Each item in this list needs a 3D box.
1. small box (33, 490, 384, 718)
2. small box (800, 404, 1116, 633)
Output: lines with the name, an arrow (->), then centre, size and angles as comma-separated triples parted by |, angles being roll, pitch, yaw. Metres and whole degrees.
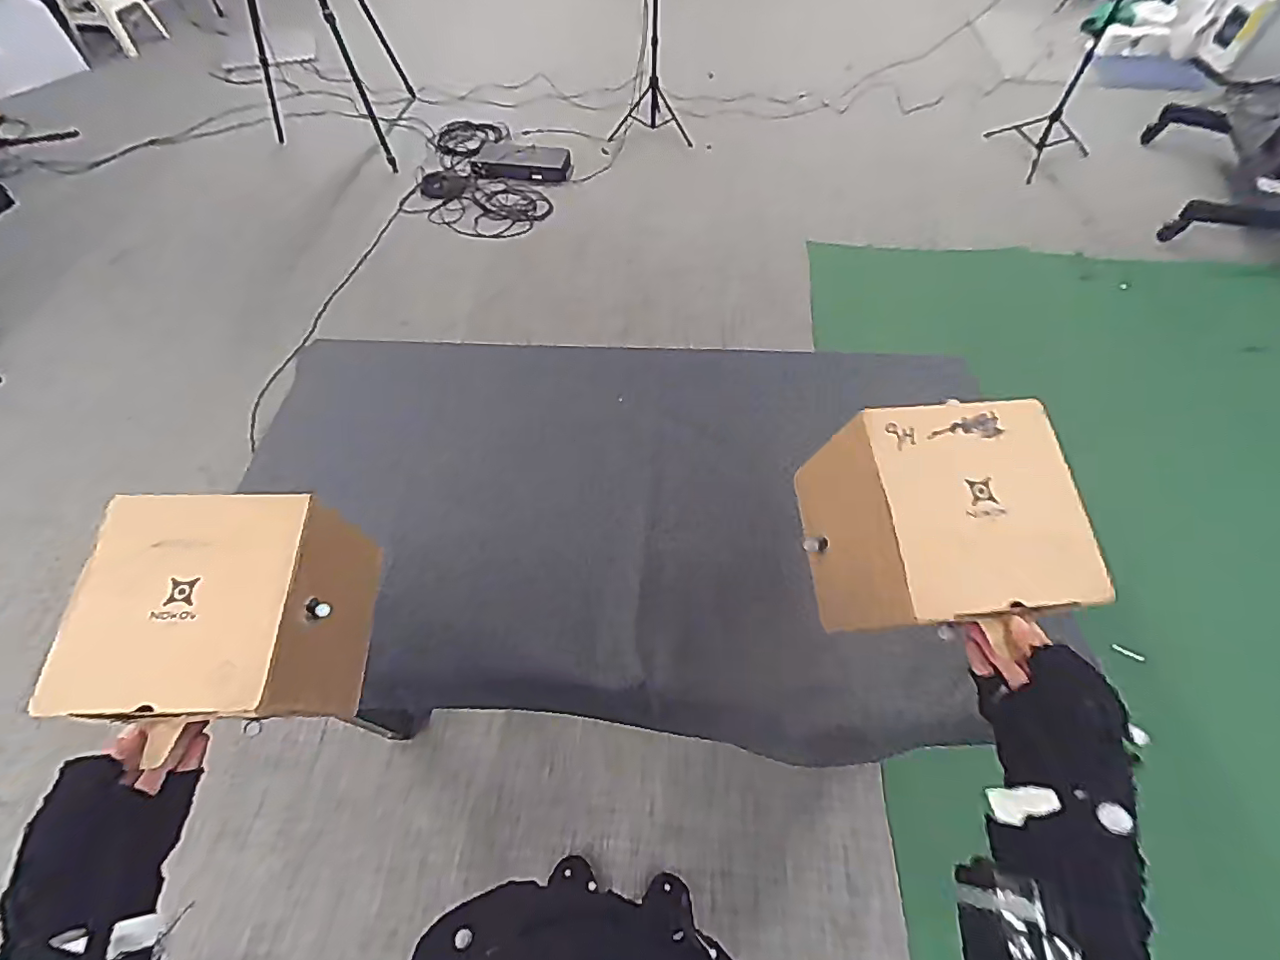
small box -> -0.358, 0.121, 0.496 | 0.168, 0.176, 0.179 | -1, 65, -3
small box -> 0.268, 0.046, 0.502 | 0.168, 0.176, 0.179 | -4, 73, -7
